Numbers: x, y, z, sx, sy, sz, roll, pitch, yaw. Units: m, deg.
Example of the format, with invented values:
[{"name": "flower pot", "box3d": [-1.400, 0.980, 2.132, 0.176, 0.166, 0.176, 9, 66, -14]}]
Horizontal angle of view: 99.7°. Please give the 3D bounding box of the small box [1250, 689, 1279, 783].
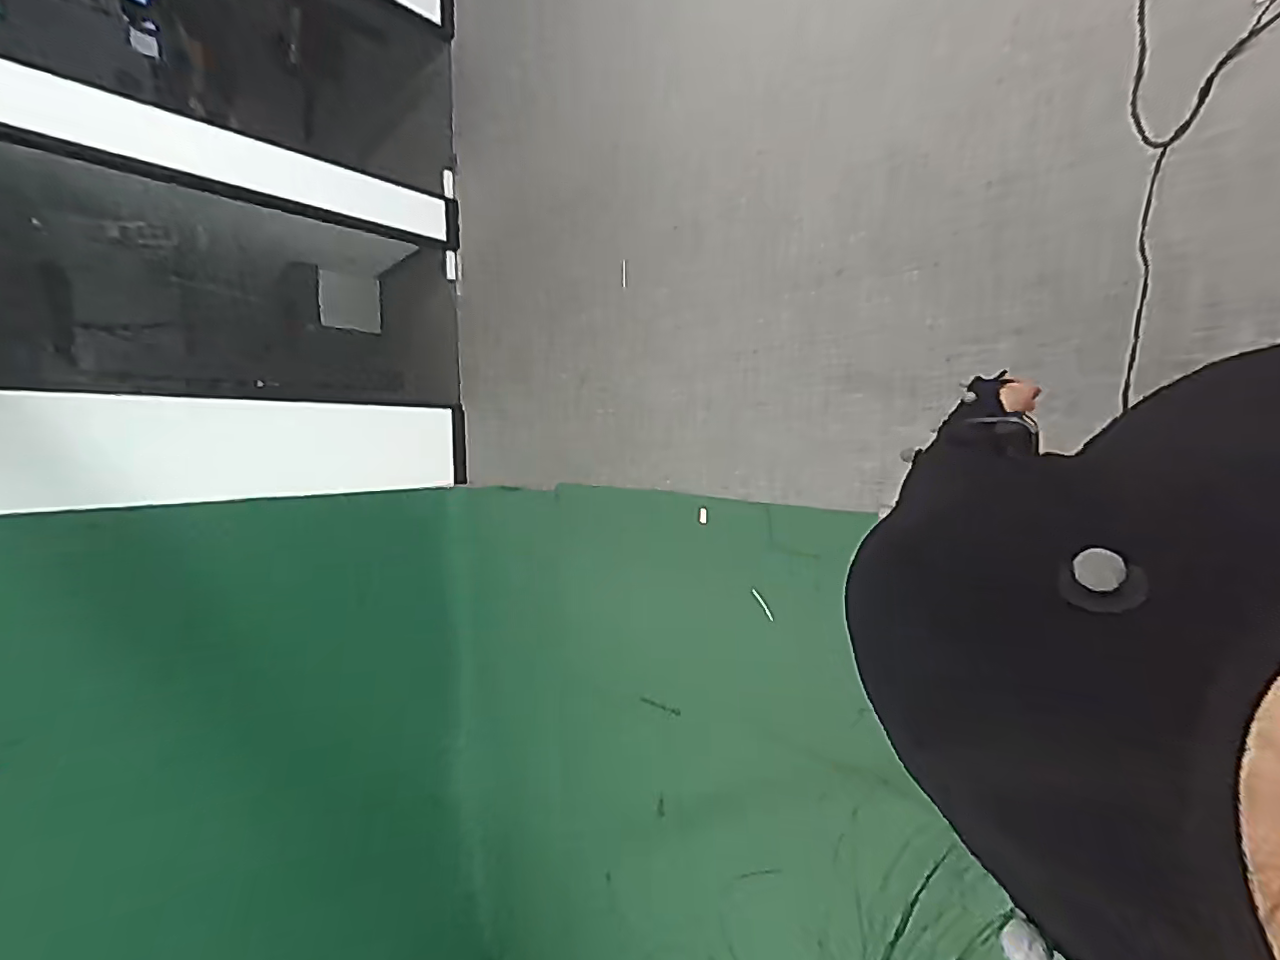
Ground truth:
[{"name": "small box", "box3d": [0.925, 0.373, 0.676, 0.168, 0.176, 0.179, -31, 71, 42]}]
